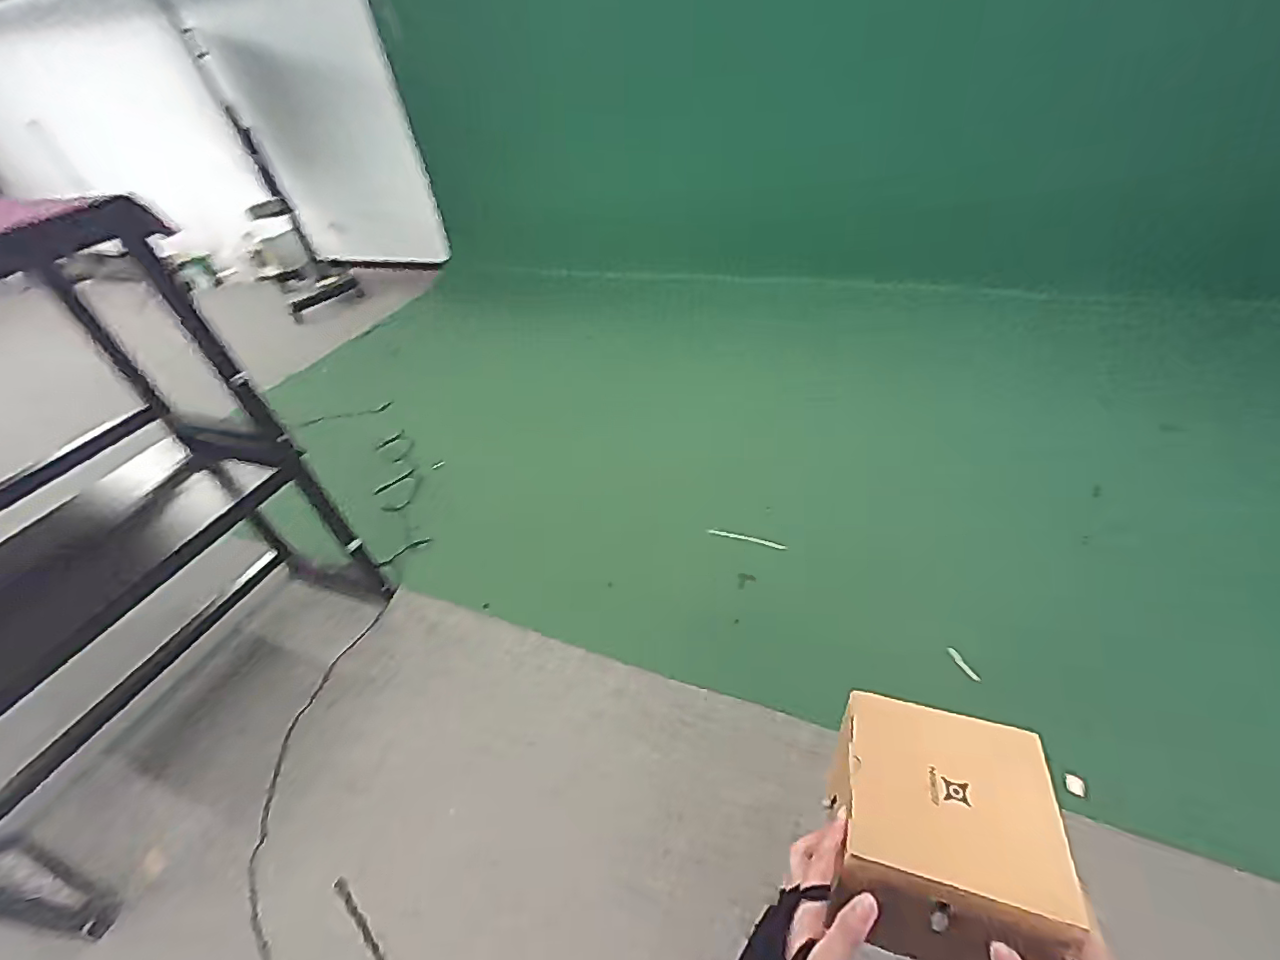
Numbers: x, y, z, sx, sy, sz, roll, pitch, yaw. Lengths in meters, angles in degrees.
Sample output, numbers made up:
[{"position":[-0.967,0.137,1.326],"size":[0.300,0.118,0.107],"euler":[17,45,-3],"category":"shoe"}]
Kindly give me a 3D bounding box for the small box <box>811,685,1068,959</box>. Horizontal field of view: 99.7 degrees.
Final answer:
[{"position":[0.277,0.344,0.545],"size":[0.179,0.176,0.168],"euler":[7,35,17],"category":"small box"}]
